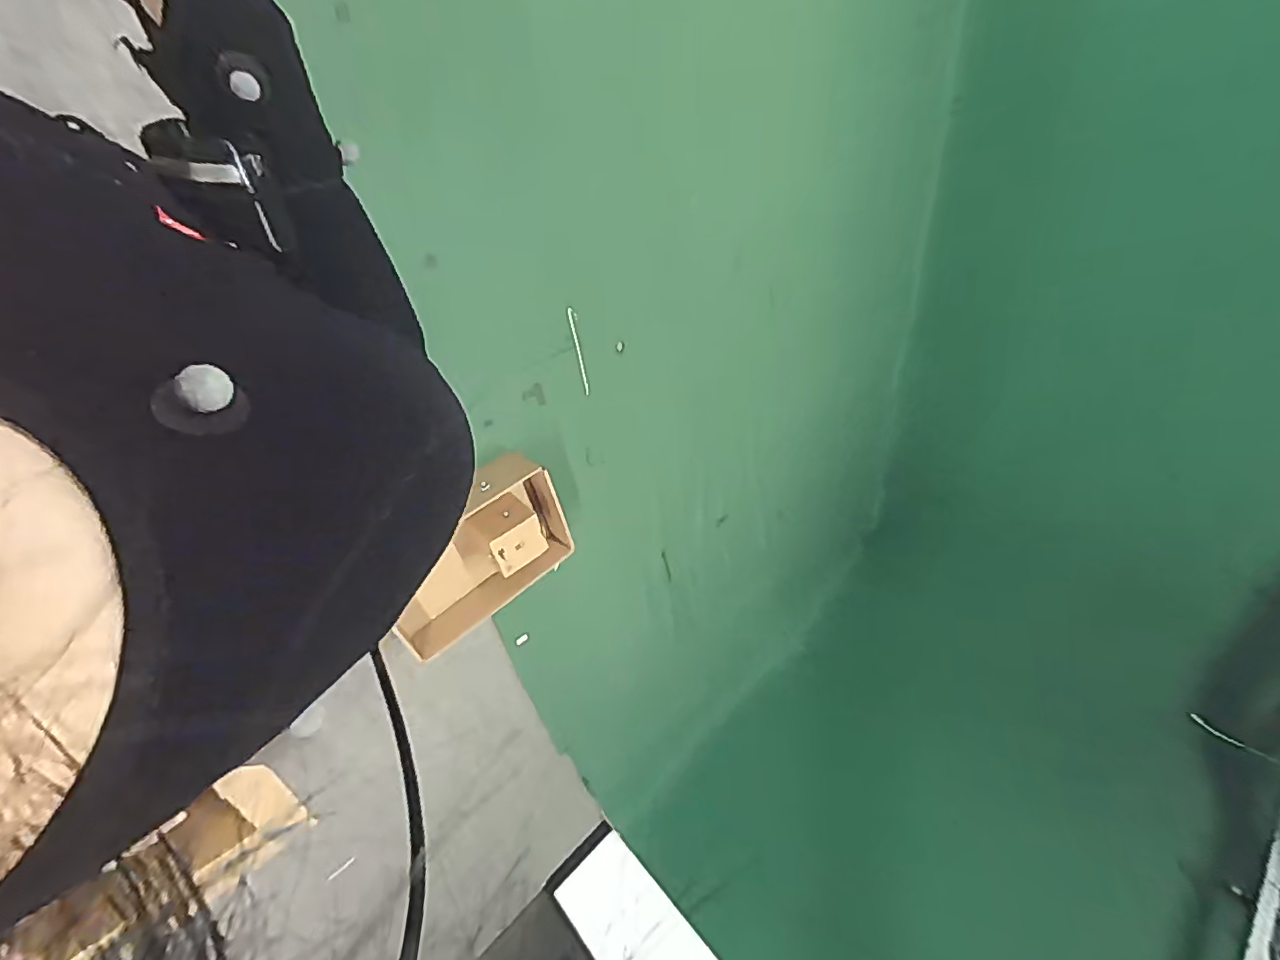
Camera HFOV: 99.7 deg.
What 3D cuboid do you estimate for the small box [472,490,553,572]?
[{"bbox_3d":[-0.417,0.160,1.769,0.179,0.176,0.168,-35,135,-26],"label":"small box"}]
